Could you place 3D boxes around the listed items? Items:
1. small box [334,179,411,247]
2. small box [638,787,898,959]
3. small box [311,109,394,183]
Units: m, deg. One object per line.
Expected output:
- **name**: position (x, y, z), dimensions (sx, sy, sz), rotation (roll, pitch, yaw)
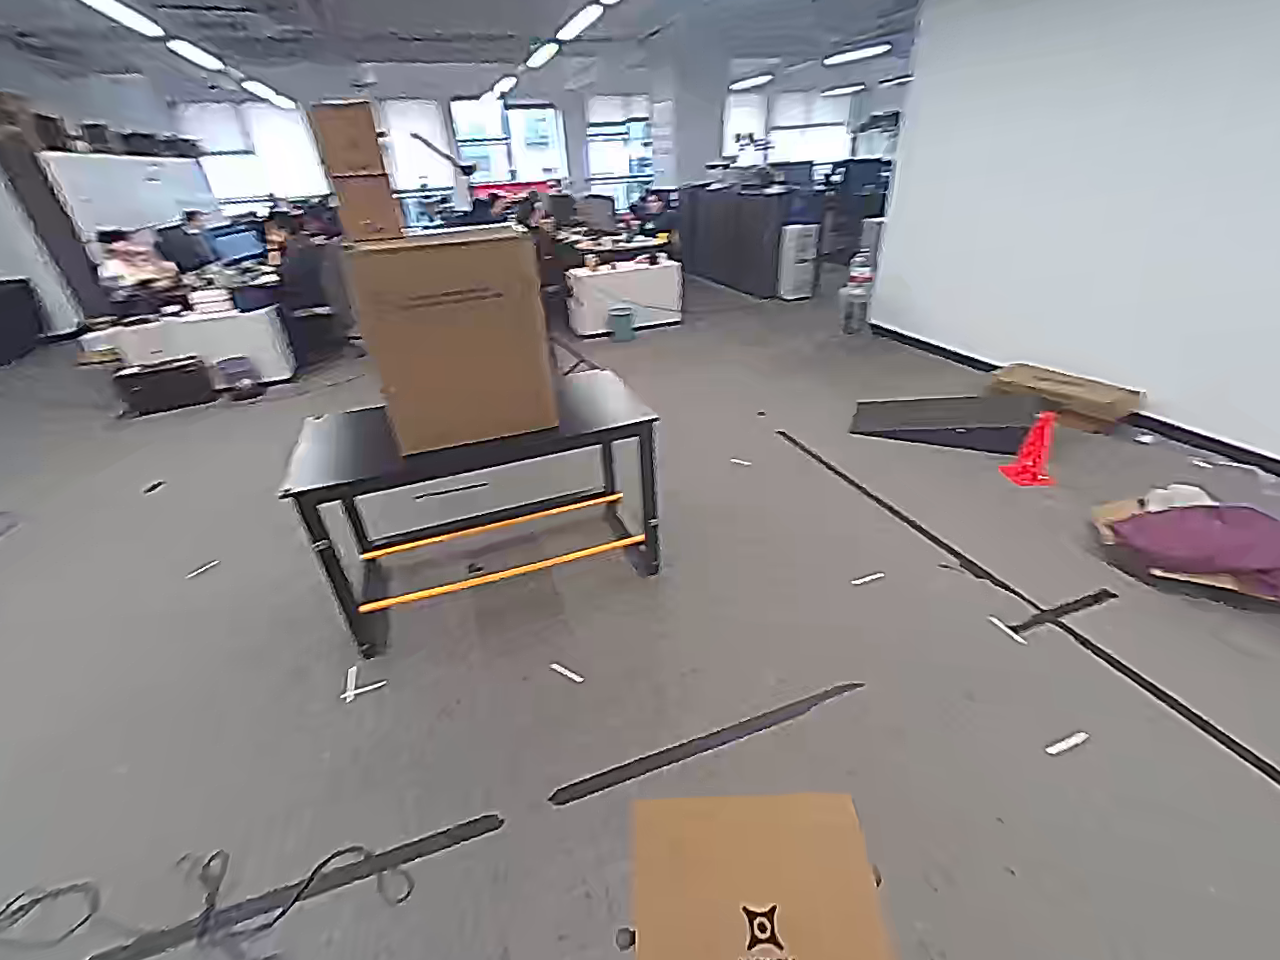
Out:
- **small box**: position (-0.796, -0.800, 1.619), dimensions (0.168, 0.176, 0.179), rotation (-16, 33, -19)
- **small box**: position (0.083, 0.355, 0.402), dimensions (0.168, 0.176, 0.179), rotation (-4, 42, 1)
- **small box**: position (-0.802, -0.934, 1.524), dimensions (0.168, 0.176, 0.179), rotation (-14, 32, -18)
